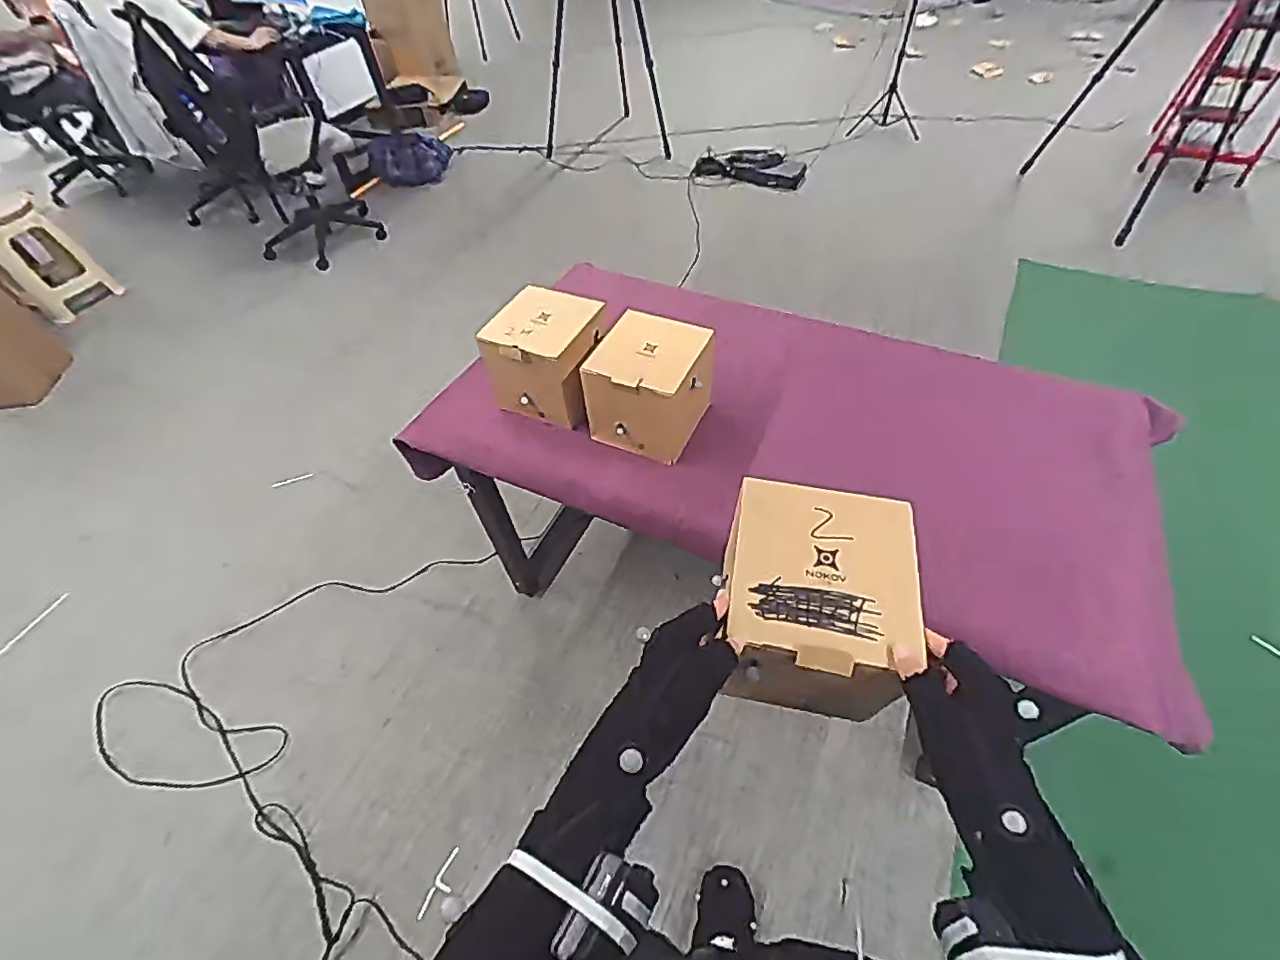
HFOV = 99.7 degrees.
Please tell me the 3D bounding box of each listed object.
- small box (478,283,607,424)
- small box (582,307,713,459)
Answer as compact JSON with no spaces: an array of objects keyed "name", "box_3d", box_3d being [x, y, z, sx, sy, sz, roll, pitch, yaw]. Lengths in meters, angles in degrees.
[{"name":"small box","box_3d":[-0.170,-0.237,1.015,0.168,0.176,0.179,19,56,18]},{"name":"small box","box_3d":[0.016,-0.170,0.953,0.168,0.176,0.179,19,57,18]}]
